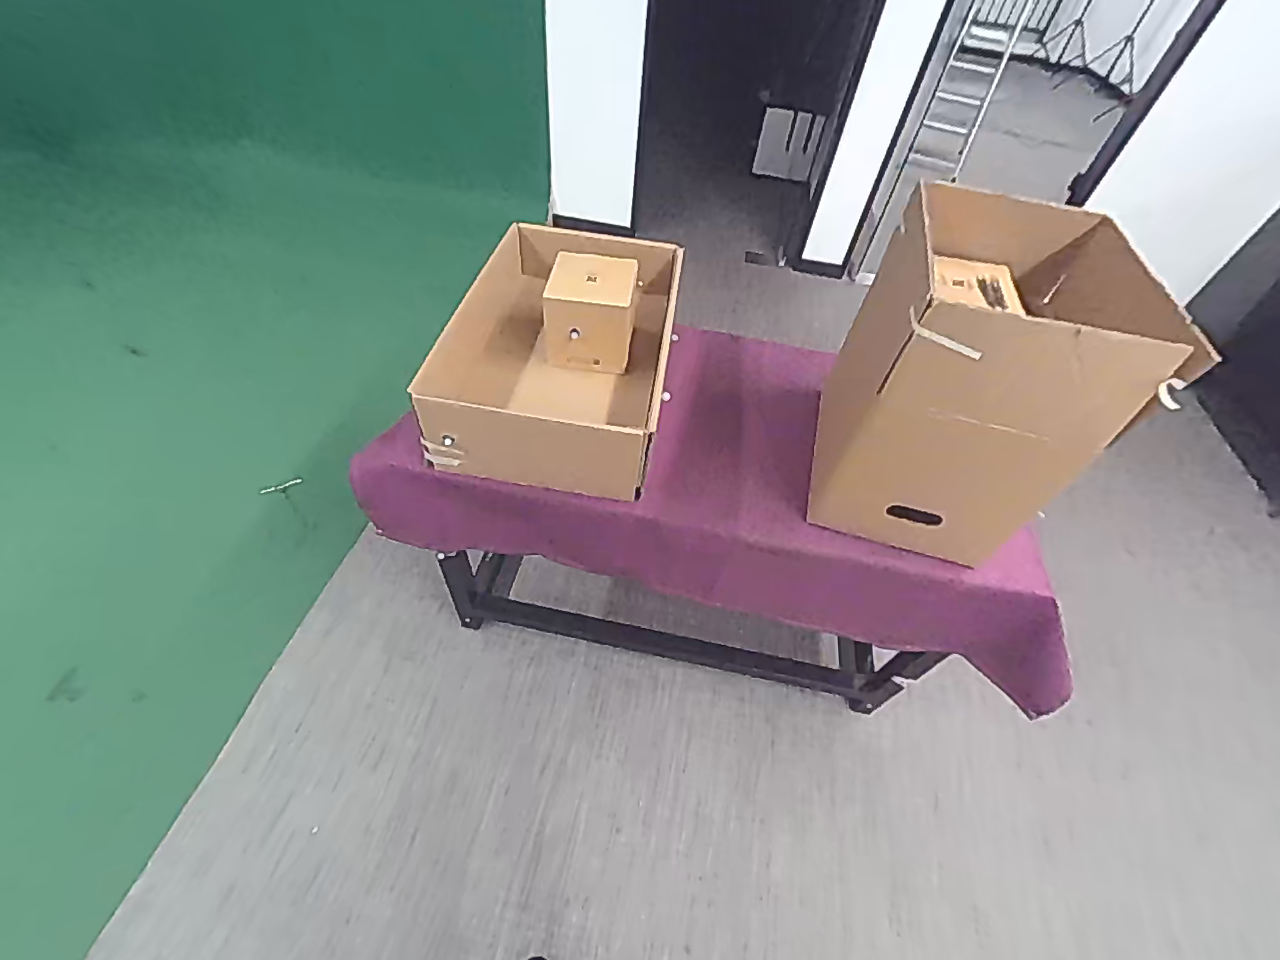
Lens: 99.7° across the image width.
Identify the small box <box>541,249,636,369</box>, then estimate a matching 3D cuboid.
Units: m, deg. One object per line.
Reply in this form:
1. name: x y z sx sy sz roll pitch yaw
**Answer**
1. small box: -0.100 -0.350 1.119 0.168 0.176 0.179 6 51 0
